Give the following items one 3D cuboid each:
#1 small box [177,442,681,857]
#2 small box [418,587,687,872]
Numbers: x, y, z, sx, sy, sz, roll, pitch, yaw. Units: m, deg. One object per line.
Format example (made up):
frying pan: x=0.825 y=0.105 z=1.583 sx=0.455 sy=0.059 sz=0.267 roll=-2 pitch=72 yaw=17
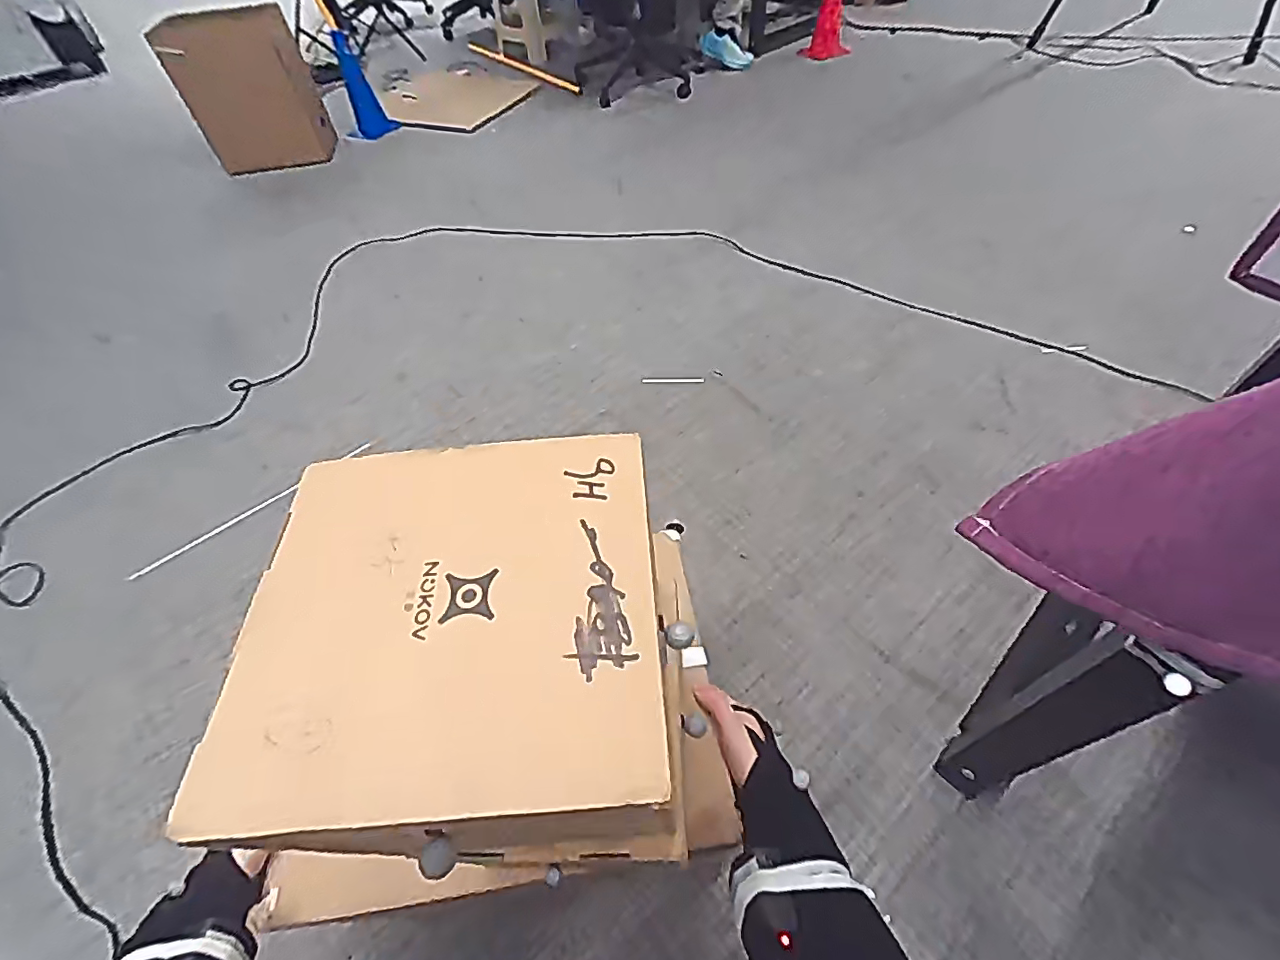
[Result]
small box: x=-0.073 y=0.101 z=0.296 sx=0.179 sy=0.176 sz=0.168 roll=-5 pitch=54 yaw=2
small box: x=-0.049 y=0.199 z=0.427 sx=0.168 sy=0.176 sz=0.179 roll=-2 pitch=54 yaw=4
